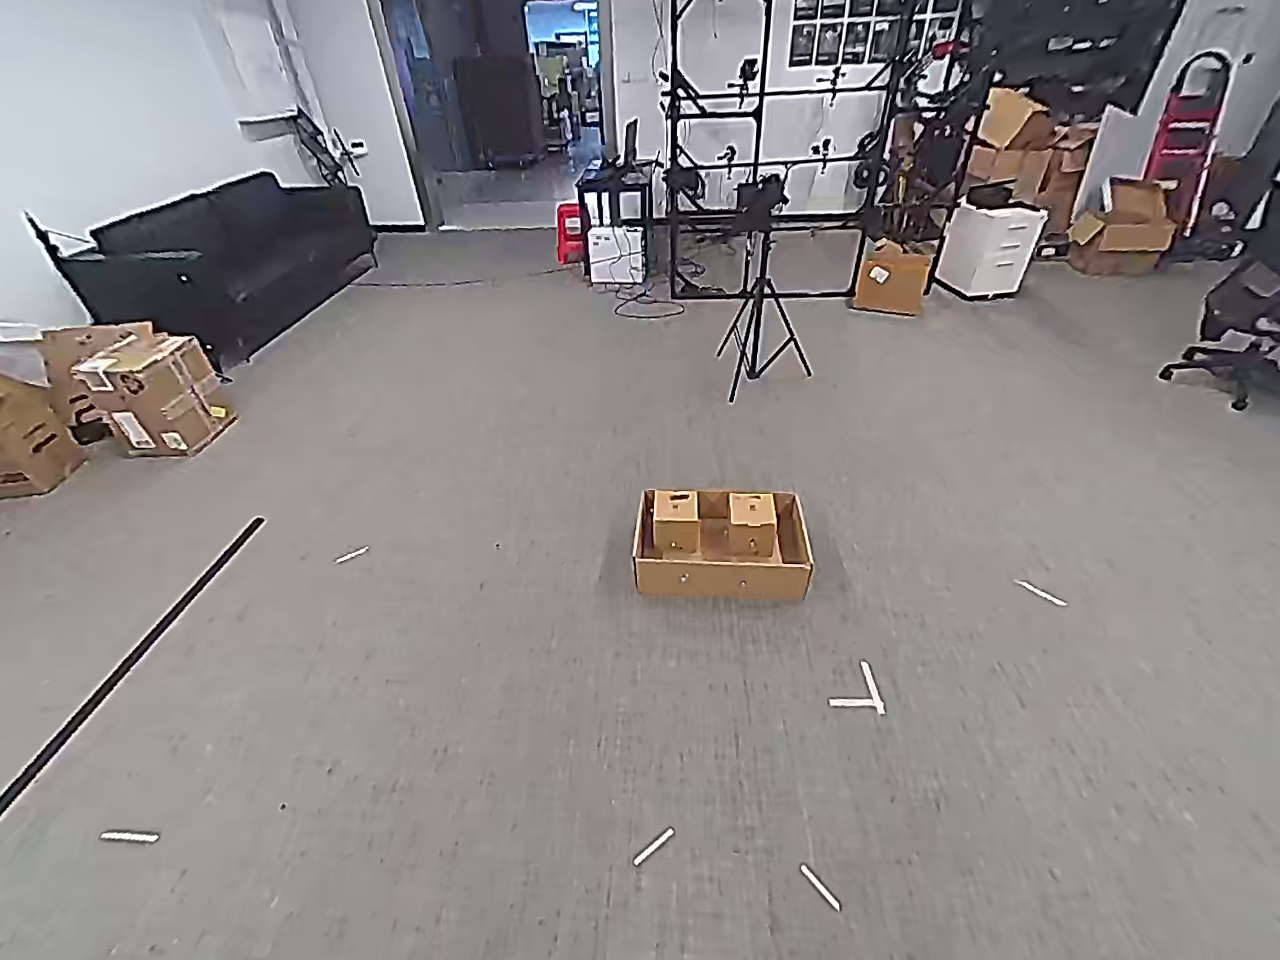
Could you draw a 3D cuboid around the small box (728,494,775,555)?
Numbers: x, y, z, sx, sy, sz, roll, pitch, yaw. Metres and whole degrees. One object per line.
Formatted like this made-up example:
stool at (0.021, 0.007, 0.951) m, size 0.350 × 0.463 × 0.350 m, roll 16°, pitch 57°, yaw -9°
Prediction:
small box at (0.422, 0.171, 2.058) m, size 0.168 × 0.176 × 0.179 m, roll 0°, pitch 39°, yaw 8°
